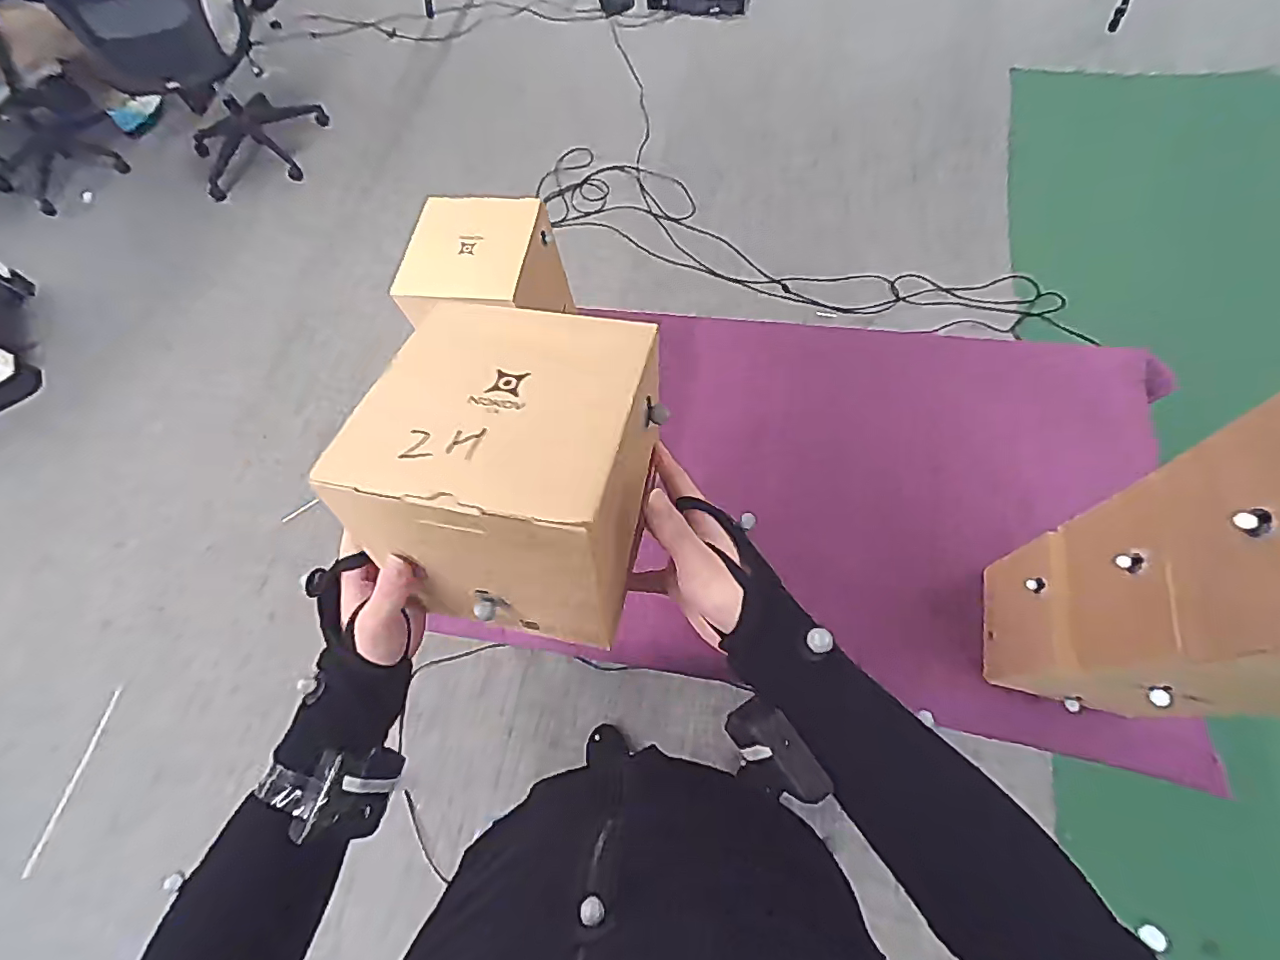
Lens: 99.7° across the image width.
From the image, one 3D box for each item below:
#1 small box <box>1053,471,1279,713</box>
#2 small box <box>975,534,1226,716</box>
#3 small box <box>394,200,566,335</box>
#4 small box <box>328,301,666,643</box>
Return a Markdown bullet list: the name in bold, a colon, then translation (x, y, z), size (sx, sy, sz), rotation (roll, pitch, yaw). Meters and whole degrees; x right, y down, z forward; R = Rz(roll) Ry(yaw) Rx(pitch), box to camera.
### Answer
- **small box**: translation (0.541, 0.116, 0.530), size (0.168, 0.176, 0.179), rotation (11, 68, 12)
- **small box**: translation (0.554, 0.186, 0.677), size (0.179, 0.176, 0.168), rotation (11, 67, 11)
- **small box**: translation (-0.213, -0.270, 0.778), size (0.168, 0.176, 0.179), rotation (5, 67, 8)
- **small box**: translation (-0.080, -0.003, 0.404), size (0.168, 0.176, 0.179), rotation (10, 54, 8)
